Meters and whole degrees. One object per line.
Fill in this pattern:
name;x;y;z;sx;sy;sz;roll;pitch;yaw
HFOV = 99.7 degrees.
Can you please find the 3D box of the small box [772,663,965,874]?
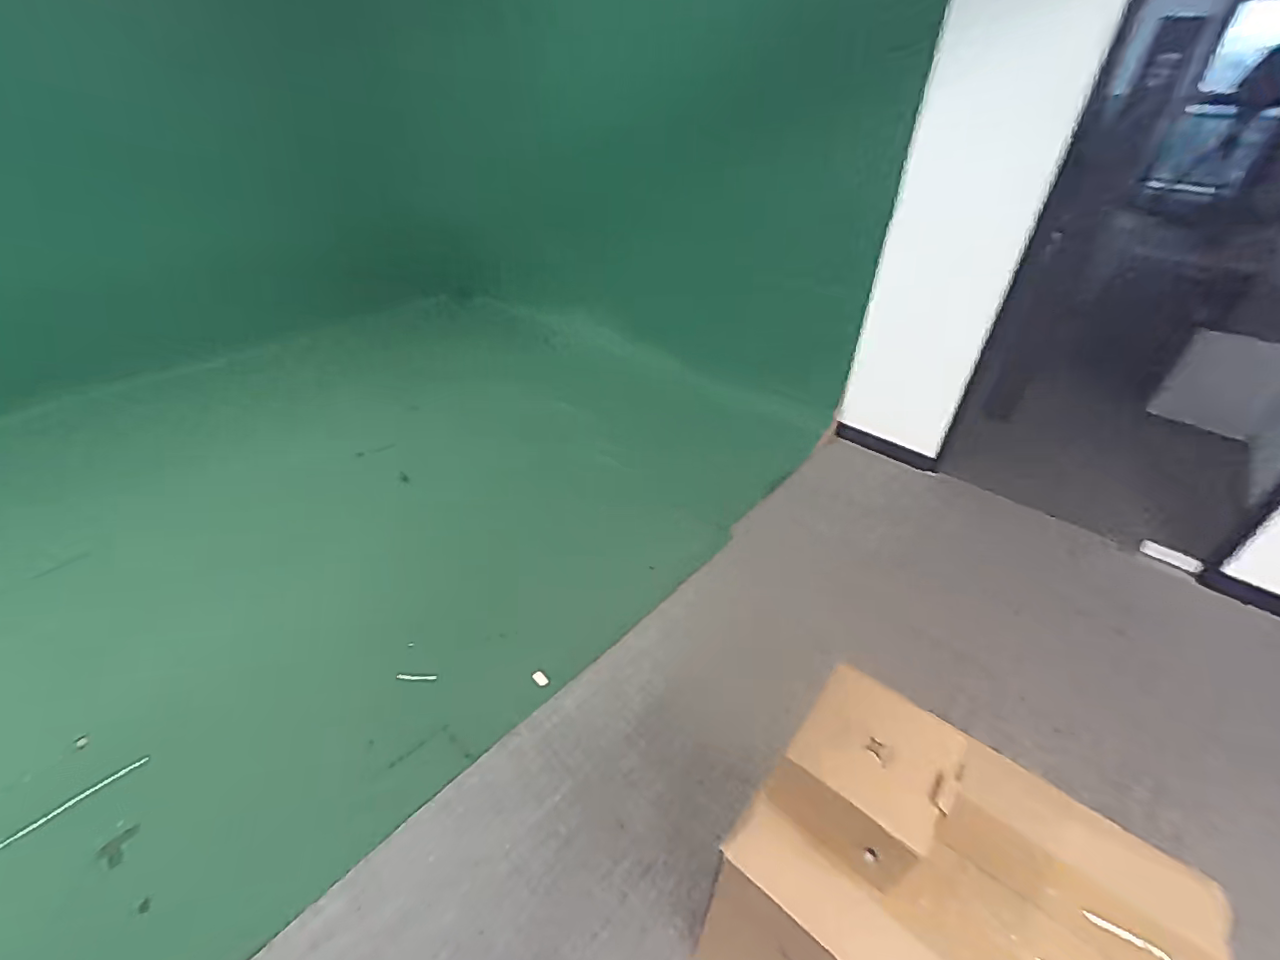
small box;0.303;0.398;0.743;0.179;0.176;0.168;27;49;31
